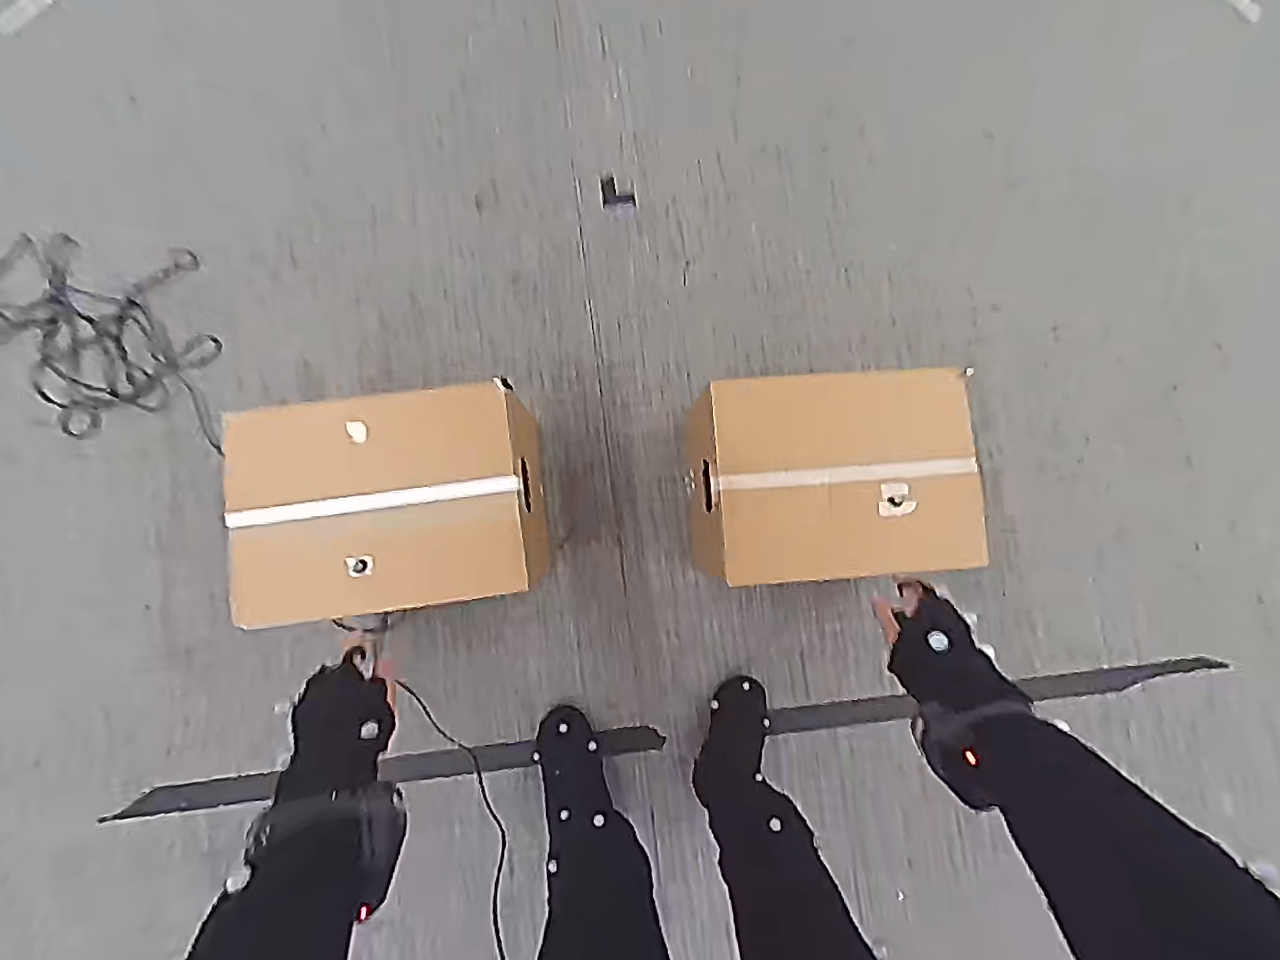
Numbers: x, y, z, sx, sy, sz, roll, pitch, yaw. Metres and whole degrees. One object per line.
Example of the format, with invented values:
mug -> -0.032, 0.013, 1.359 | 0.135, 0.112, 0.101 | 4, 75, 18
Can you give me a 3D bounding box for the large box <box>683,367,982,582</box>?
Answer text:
large box -> 0.308, 0.001, 0.977 | 0.408, 0.320, 0.320 | -3, 85, -4
